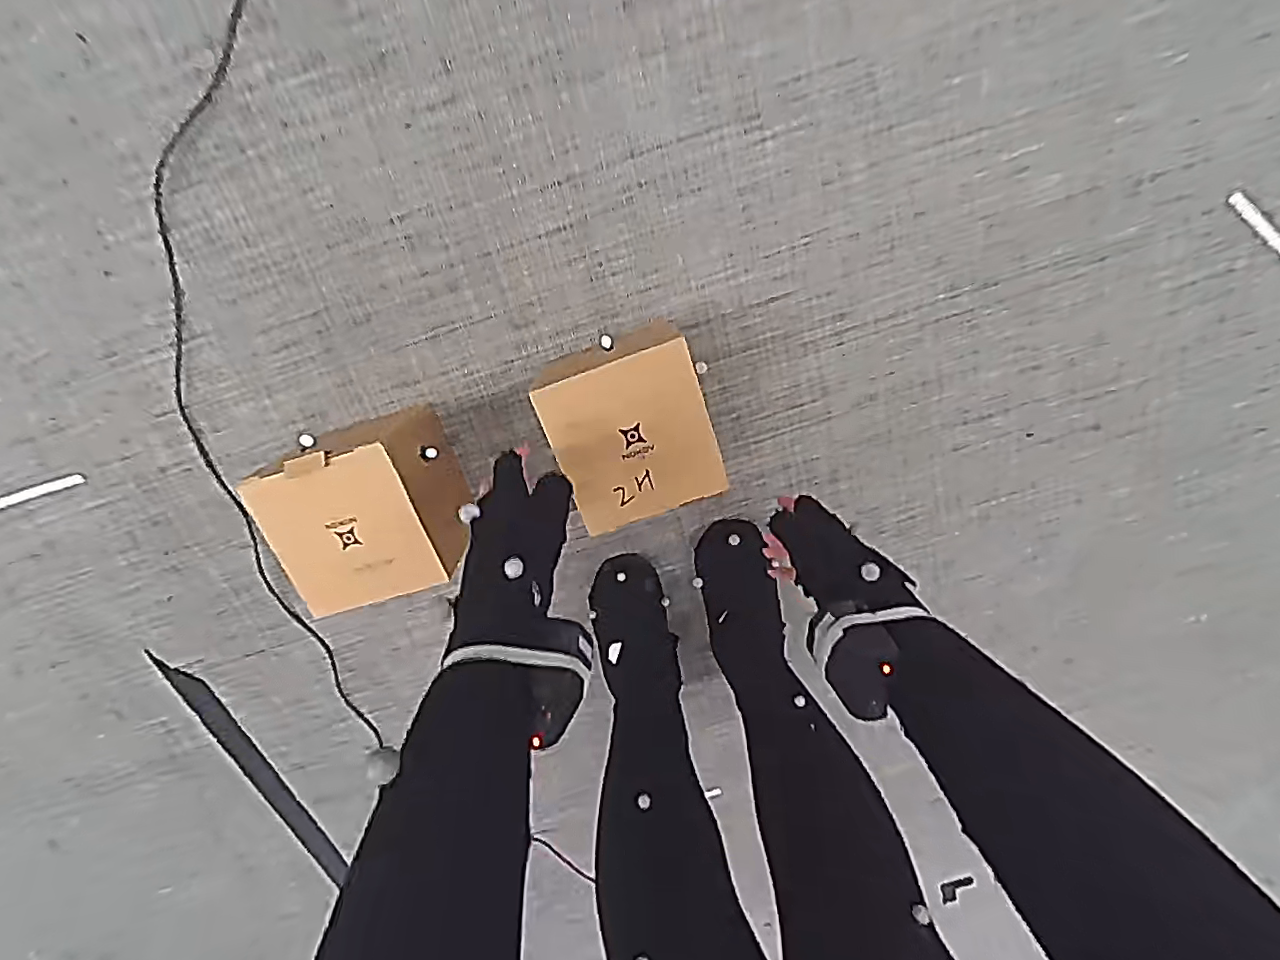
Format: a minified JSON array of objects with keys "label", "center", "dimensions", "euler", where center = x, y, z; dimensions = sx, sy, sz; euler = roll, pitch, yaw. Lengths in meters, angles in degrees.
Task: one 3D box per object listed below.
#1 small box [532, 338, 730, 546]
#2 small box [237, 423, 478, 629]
[{"label":"small box","center":[-0.012,-0.057,0.632],"dimensions":[0.168,0.176,0.179],"euler":[-19,112,4]},{"label":"small box","center":[-0.316,0.042,0.650],"dimensions":[0.168,0.176,0.179],"euler":[-16,112,3]}]
